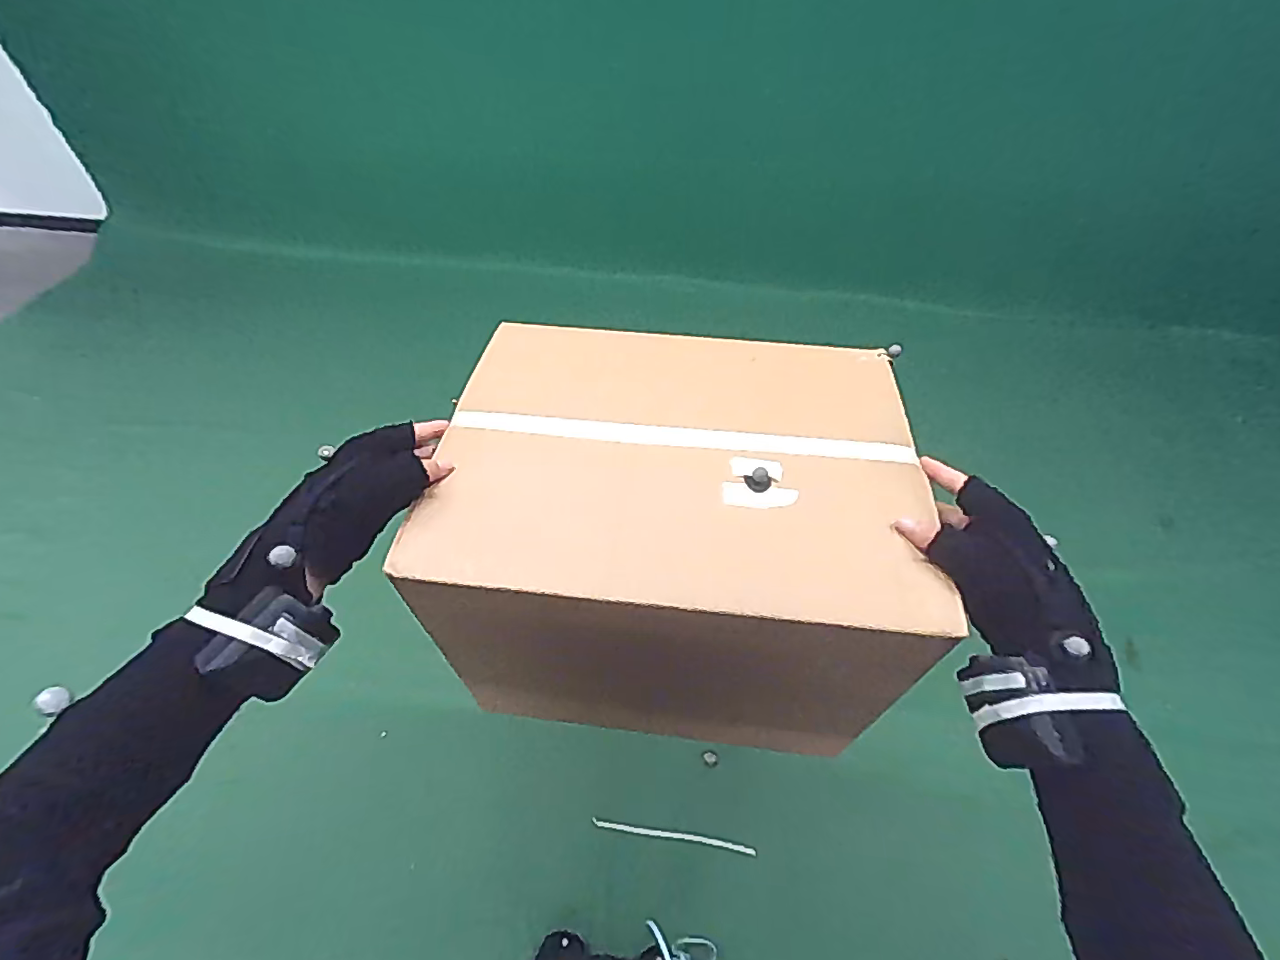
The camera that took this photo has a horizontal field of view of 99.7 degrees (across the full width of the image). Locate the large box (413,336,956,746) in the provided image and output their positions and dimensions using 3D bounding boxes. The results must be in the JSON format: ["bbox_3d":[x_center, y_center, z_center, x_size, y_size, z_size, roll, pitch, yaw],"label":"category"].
[{"bbox_3d":[0.037,0.070,0.596,0.408,0.320,0.320,6,50,3],"label":"large box"}]
